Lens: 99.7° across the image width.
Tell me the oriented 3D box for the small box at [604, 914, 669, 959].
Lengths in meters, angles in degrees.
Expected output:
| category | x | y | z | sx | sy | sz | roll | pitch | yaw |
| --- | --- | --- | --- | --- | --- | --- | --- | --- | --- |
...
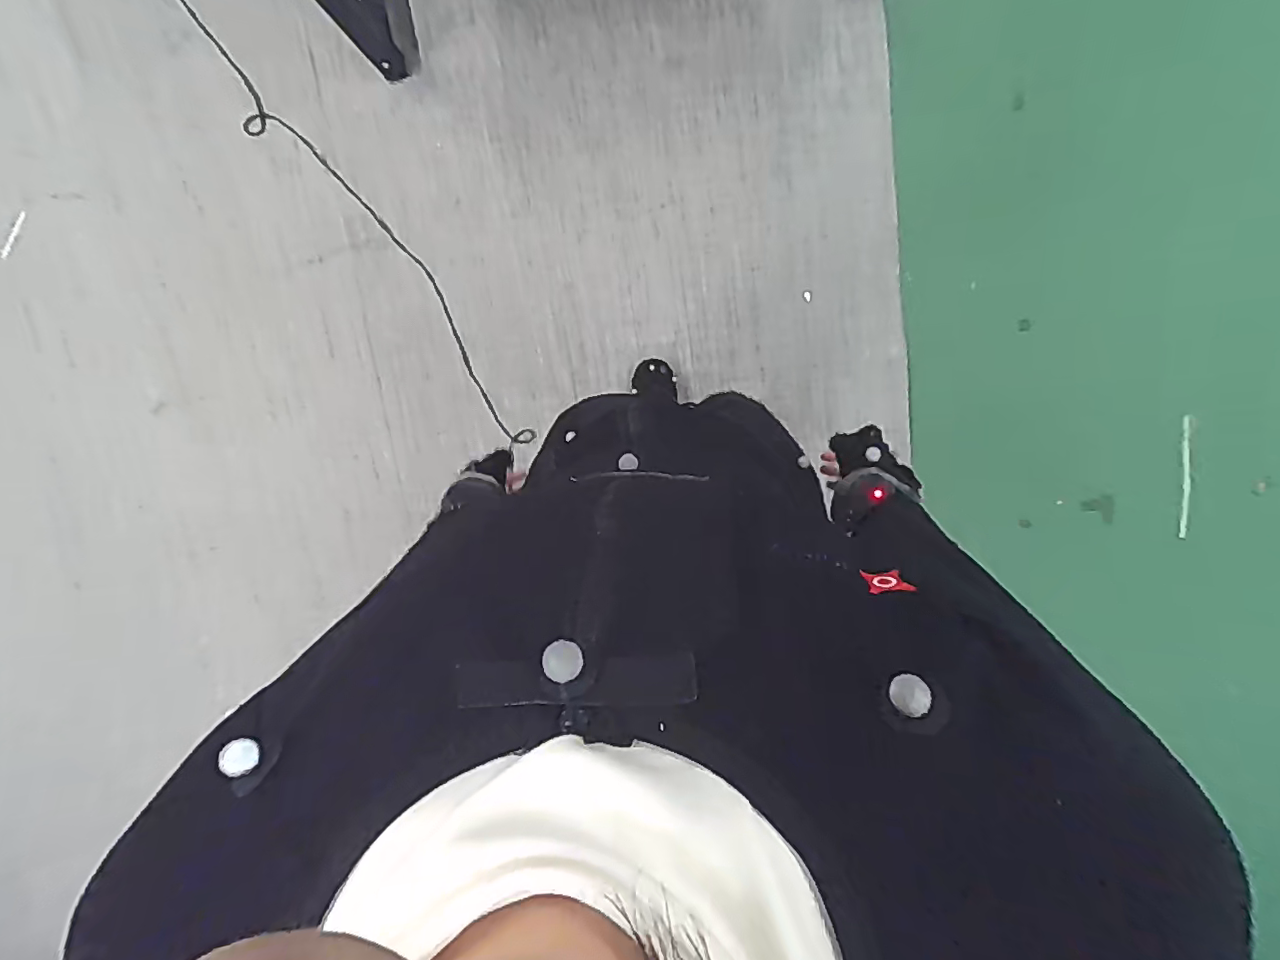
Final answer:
| category | x | y | z | sx | sy | sz | roll | pitch | yaw |
| --- | --- | --- | --- | --- | --- | --- | --- | --- | --- |
| small box | -0.006 | 1.443 | 1.612 | 0.179 | 0.176 | 0.168 | -8 | 101 | 3 |
